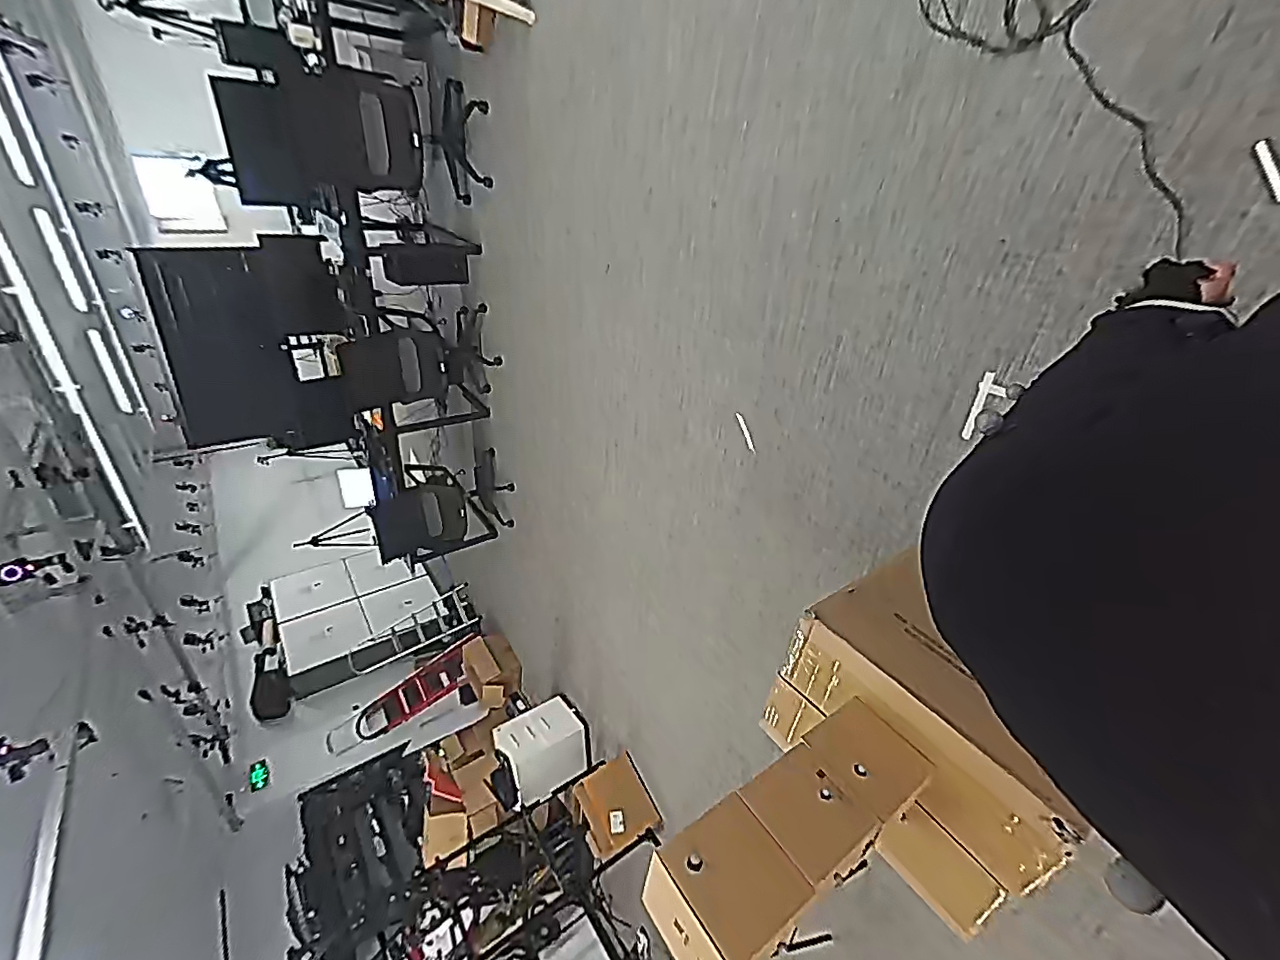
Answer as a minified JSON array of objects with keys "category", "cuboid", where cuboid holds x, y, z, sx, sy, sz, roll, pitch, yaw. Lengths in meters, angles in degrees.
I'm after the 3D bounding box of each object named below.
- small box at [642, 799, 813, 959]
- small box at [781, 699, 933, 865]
[{"category":"small box","cuboid":[0.127,0.627,0.824,0.179,0.176,0.168,40,135,41]},{"category":"small box","cuboid":[0.397,0.544,0.994,0.179,0.176,0.168,41,135,41]}]
